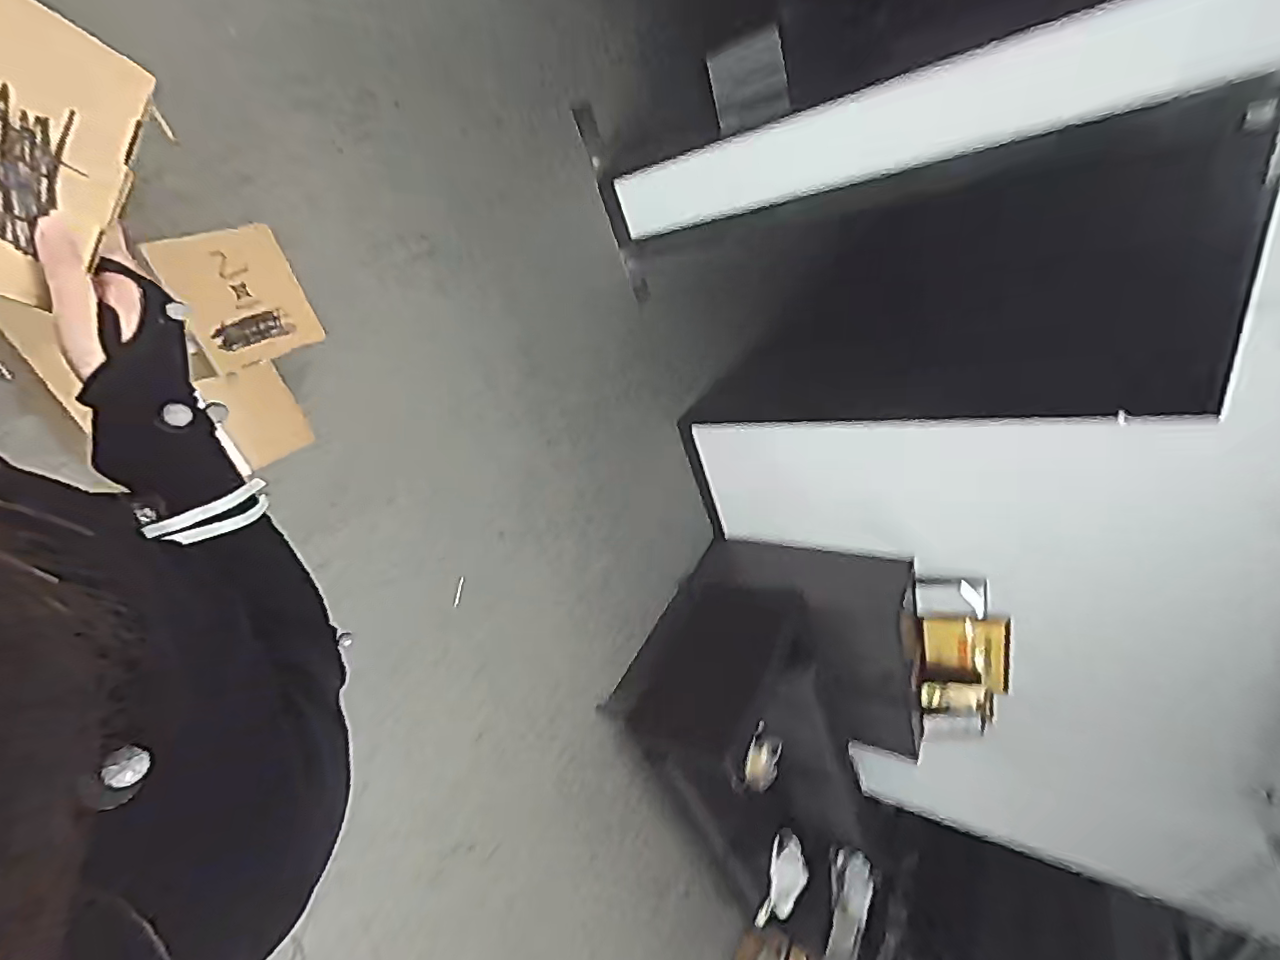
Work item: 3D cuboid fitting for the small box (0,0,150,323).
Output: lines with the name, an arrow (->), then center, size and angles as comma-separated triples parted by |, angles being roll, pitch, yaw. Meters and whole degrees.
small box -> -0.447, -0.212, 0.318 | 0.179, 0.176, 0.168 | 18, 90, -56

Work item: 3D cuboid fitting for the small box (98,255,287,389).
small box -> -0.758, -0.263, 0.914 | 0.179, 0.176, 0.168 | -47, 129, -45
